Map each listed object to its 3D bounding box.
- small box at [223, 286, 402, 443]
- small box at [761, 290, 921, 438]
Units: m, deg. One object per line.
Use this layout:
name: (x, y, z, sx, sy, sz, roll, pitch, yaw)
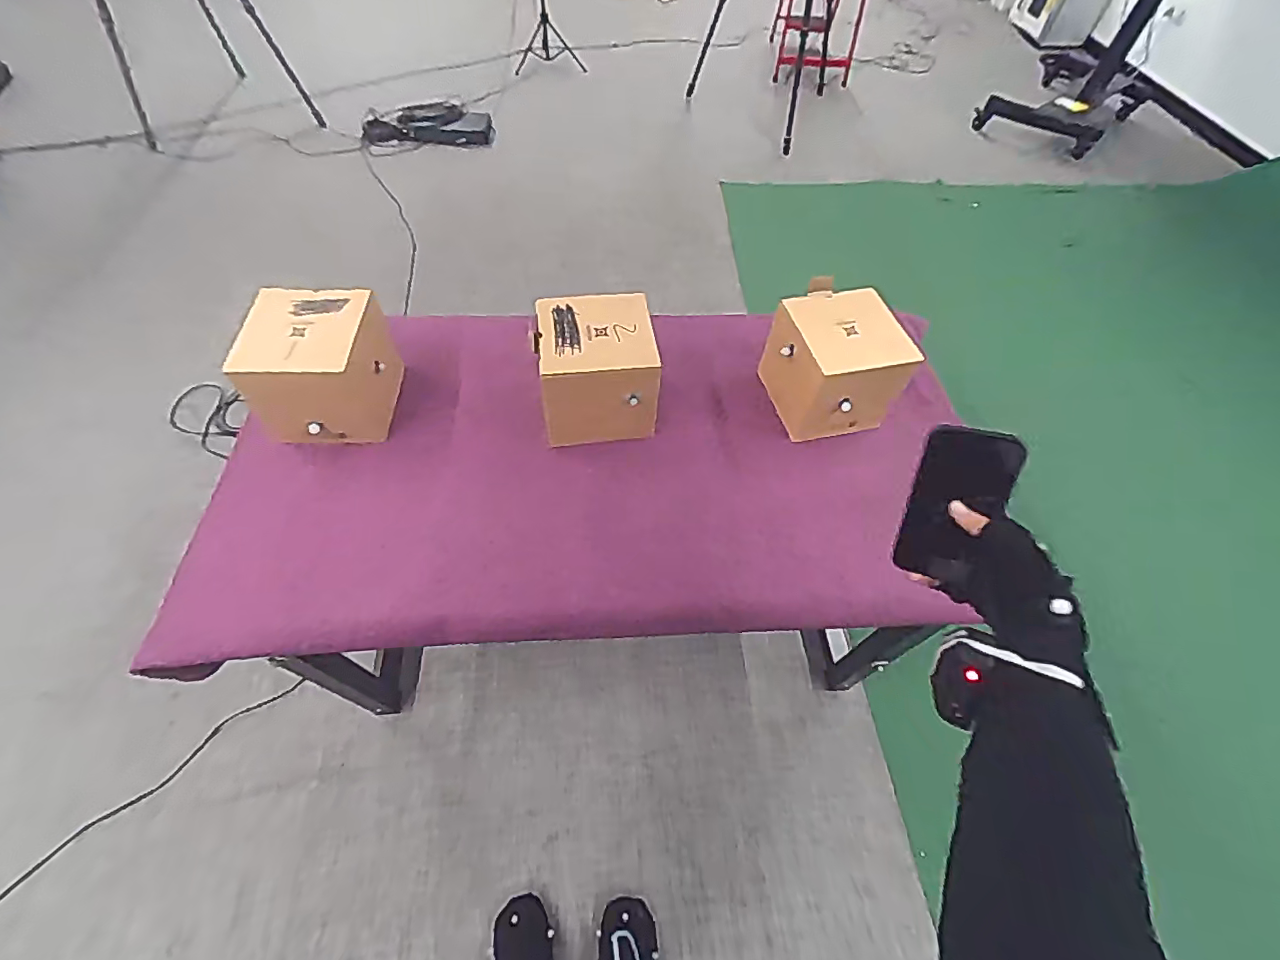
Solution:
small box: (-0.492, -0.178, 0.848, 0.168, 0.176, 0.179, 0, 58, -3)
small box: (0.320, -0.185, 0.902, 0.168, 0.176, 0.179, -10, 57, -9)
